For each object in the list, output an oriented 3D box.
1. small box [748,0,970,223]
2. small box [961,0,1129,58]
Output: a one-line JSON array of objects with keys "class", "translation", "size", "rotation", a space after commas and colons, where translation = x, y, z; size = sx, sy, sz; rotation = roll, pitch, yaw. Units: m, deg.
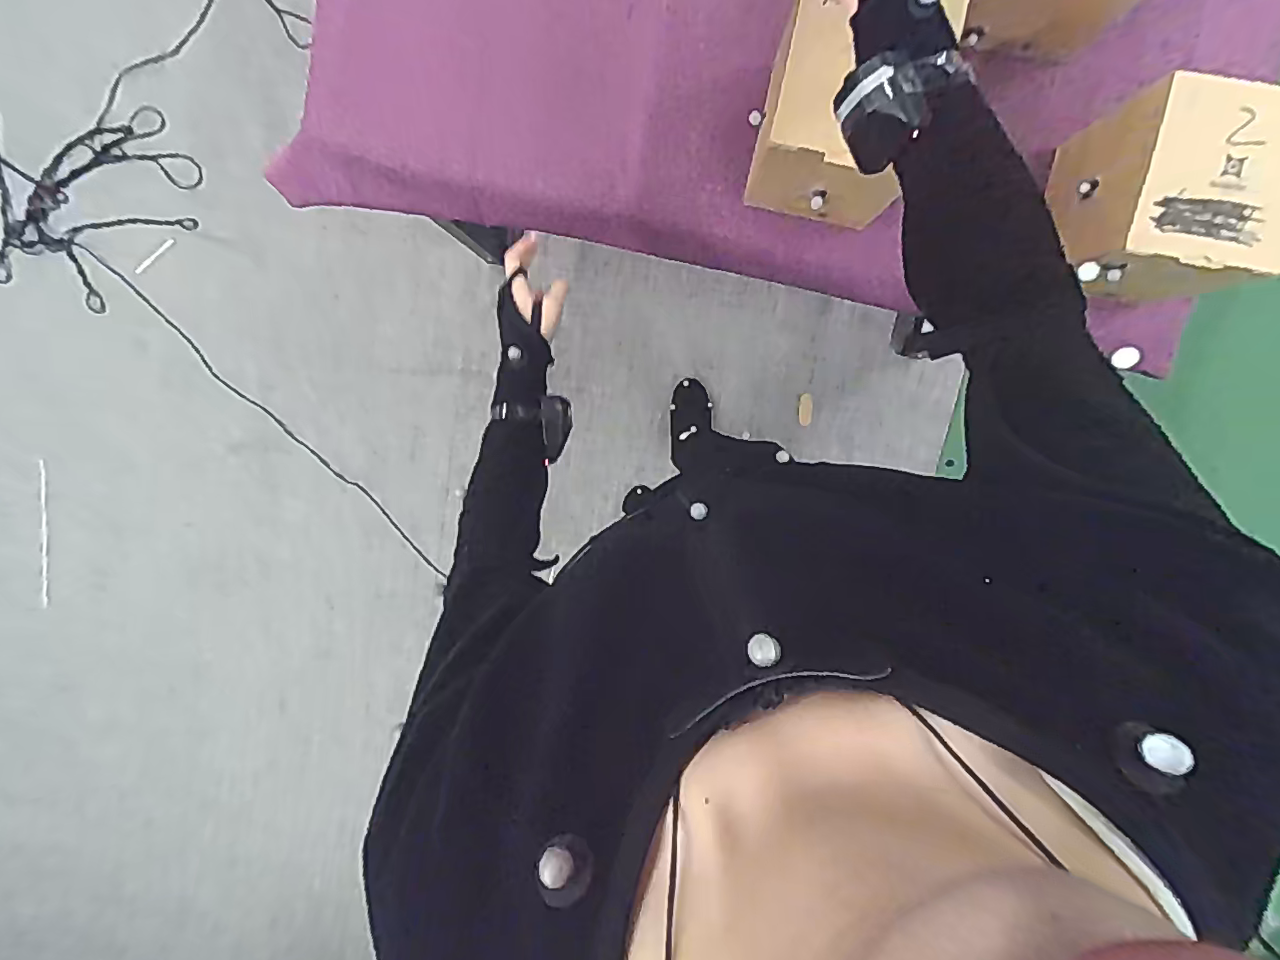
[{"class": "small box", "translation": [0.229, -0.419, 0.618], "size": [0.168, 0.176, 0.179], "rotation": [12, 98, 0]}, {"class": "small box", "translation": [0.463, -0.605, 0.583], "size": [0.168, 0.176, 0.179], "rotation": [10, 97, 0]}]
